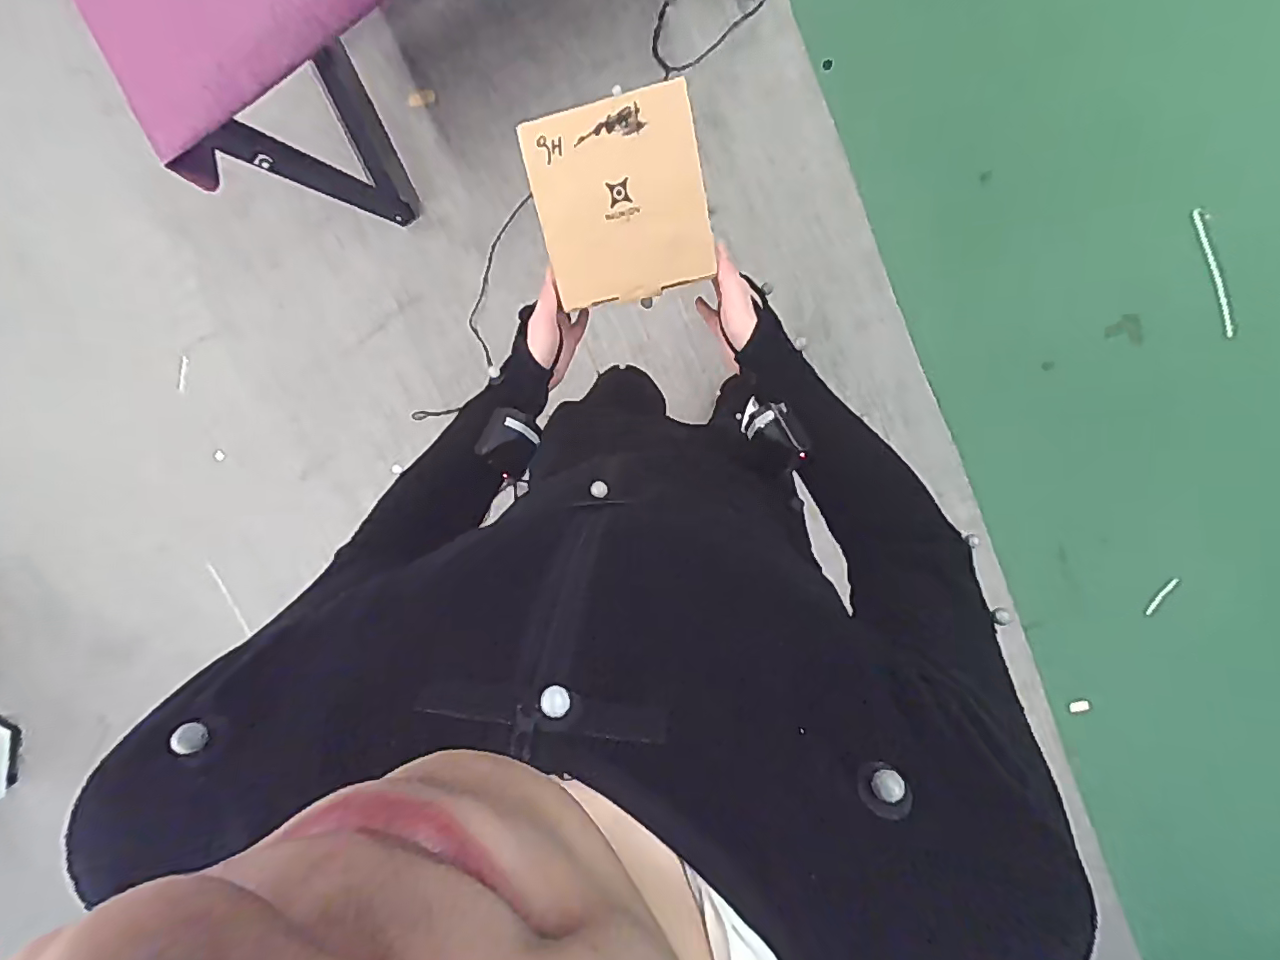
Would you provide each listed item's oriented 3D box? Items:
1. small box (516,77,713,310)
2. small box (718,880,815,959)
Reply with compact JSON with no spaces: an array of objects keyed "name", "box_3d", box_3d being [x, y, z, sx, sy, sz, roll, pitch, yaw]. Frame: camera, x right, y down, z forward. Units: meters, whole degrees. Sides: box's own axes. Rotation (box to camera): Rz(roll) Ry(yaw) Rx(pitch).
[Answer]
[{"name":"small box","box_3d":[-0.015,-0.301,0.601,0.168,0.176,0.179,-11,110,8]},{"name":"small box","box_3d":[0.263,0.962,1.112,0.168,0.176,0.179,-16,99,14]}]
